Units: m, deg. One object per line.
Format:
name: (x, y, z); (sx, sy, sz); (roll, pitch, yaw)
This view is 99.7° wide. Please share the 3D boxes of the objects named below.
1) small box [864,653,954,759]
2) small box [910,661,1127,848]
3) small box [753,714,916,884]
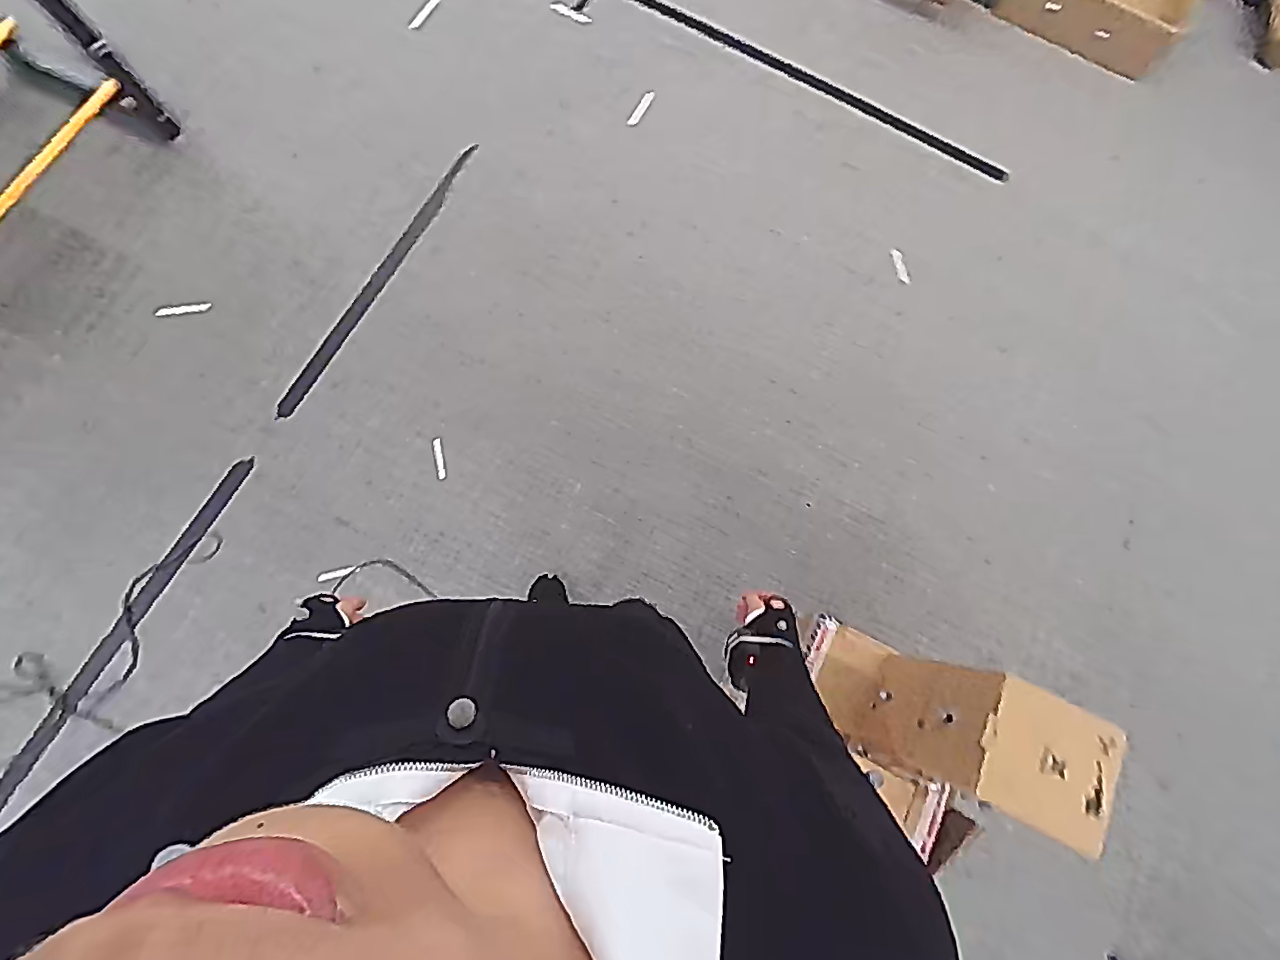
small box: (0.529, 0.413, 0.940); (0.179, 0.176, 0.168); (26, 76, 3)
small box: (0.528, 0.376, 0.780); (0.179, 0.176, 0.168); (27, 76, 4)
small box: (0.316, 0.516, 0.908); (0.179, 0.176, 0.168); (26, 77, 4)
